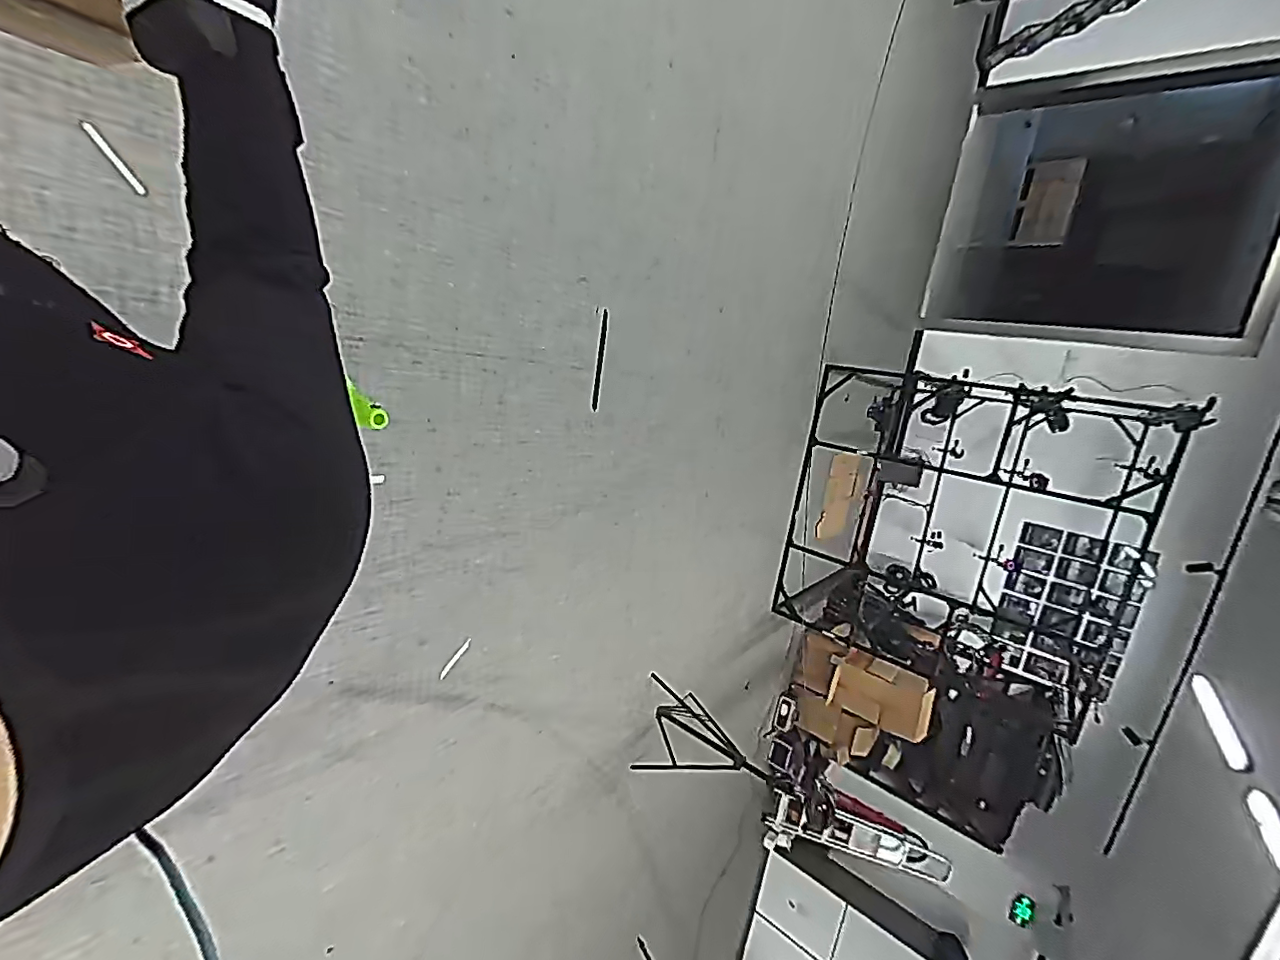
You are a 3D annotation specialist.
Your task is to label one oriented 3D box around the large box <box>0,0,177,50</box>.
[{"bbox_3d":[-0.527,-0.497,0.267,0.408,0.320,0.320,-7,119,-51],"label":"large box"}]
